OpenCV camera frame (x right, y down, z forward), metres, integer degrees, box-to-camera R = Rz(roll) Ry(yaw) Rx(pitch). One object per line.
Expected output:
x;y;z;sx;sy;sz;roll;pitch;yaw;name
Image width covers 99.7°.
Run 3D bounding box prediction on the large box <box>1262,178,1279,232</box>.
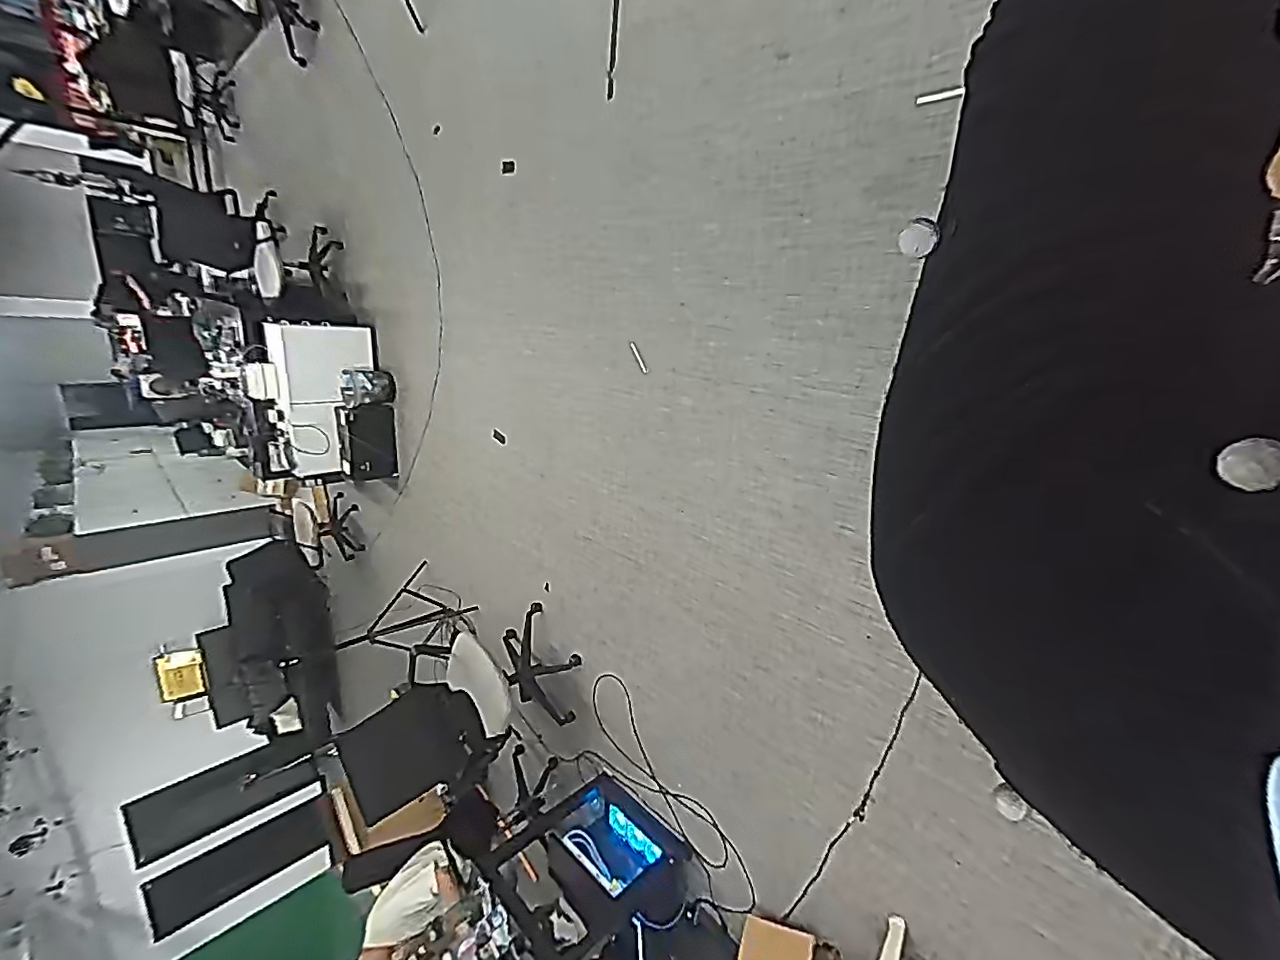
1.037;-0.466;0.586;0.408;0.320;0.320;21;114;40;large box
